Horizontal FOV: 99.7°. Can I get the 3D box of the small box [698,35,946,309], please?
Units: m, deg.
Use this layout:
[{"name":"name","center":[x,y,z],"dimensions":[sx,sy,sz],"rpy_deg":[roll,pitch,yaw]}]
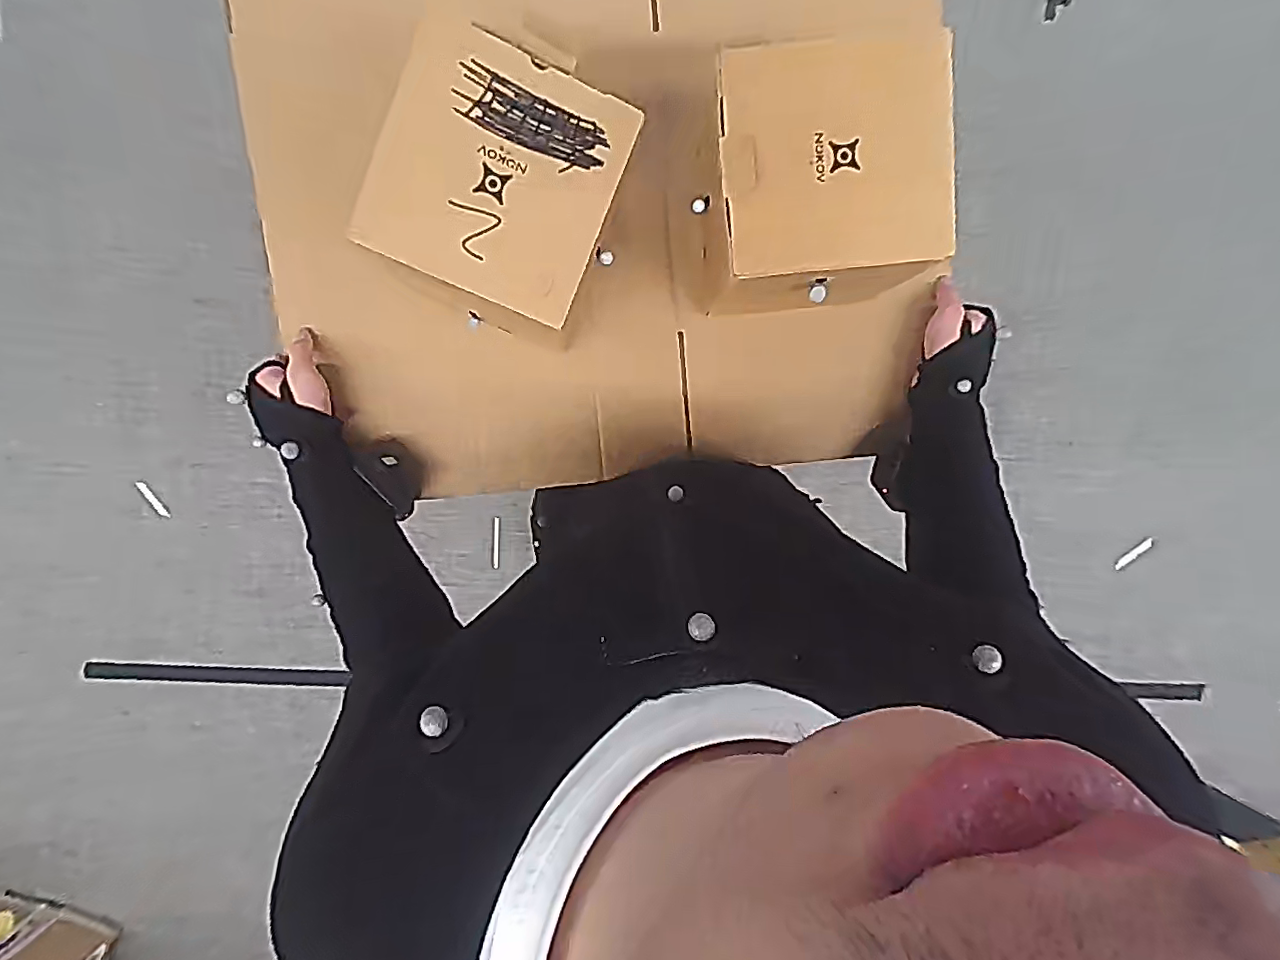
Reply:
[{"name":"small box","center":[0.154,-0.265,0.506],"dimensions":[0.179,0.176,0.168],"rpy_deg":[-5,96,1]}]
